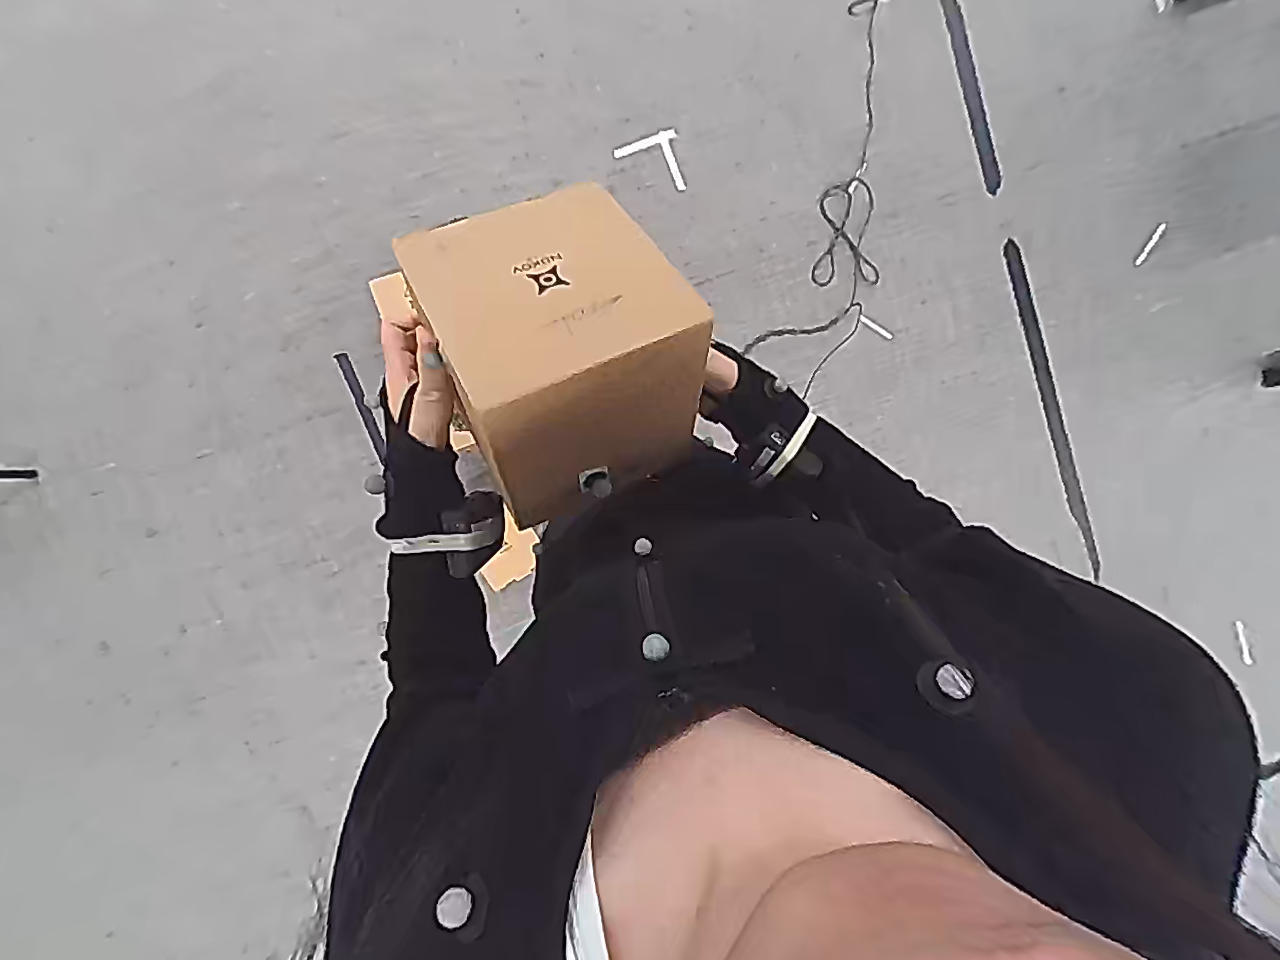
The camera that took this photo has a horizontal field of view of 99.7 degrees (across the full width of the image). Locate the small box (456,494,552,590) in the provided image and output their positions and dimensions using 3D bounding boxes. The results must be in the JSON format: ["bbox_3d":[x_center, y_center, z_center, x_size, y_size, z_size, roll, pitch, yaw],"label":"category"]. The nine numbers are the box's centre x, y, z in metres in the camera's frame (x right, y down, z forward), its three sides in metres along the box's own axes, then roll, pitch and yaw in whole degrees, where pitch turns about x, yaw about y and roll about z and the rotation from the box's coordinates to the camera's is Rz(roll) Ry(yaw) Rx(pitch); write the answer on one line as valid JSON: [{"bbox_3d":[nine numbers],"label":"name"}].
[{"bbox_3d":[-0.341,0.150,1.396,0.168,0.176,0.179,-32,98,-2],"label":"small box"}]

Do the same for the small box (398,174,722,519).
[{"bbox_3d":[-0.061,-0.100,0.431,0.168,0.176,0.179,-26,65,-16],"label":"small box"}]

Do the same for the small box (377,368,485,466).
[{"bbox_3d":[-0.438,-0.141,1.196,0.179,0.176,0.168,-21,96,-2],"label":"small box"}]
